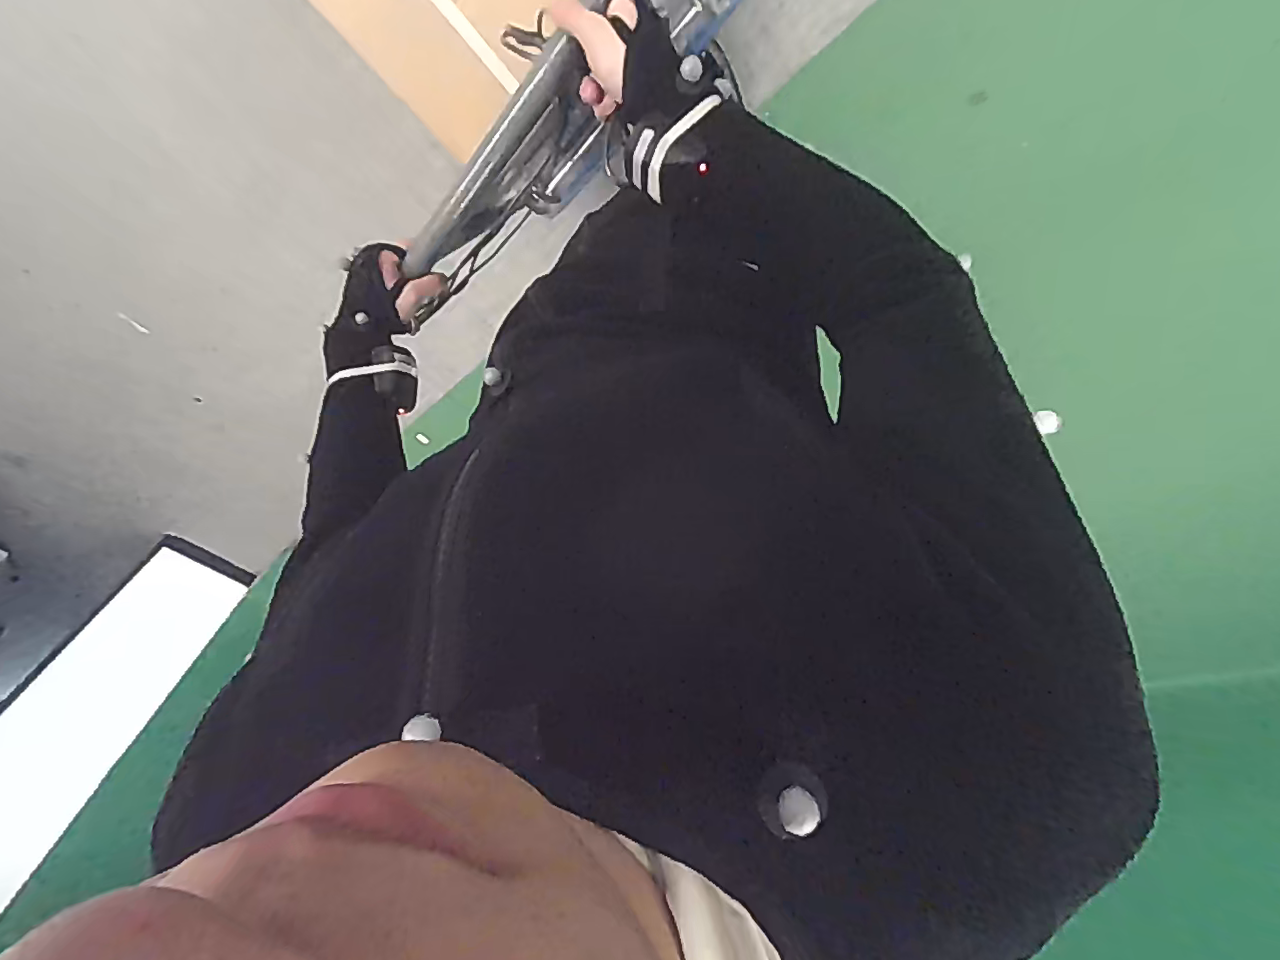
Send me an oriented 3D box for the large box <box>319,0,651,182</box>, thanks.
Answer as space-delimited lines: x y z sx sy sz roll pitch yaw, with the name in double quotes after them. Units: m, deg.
-0.247 -0.783 0.862 0.320 0.320 0.408 -29 117 35 "large box"
